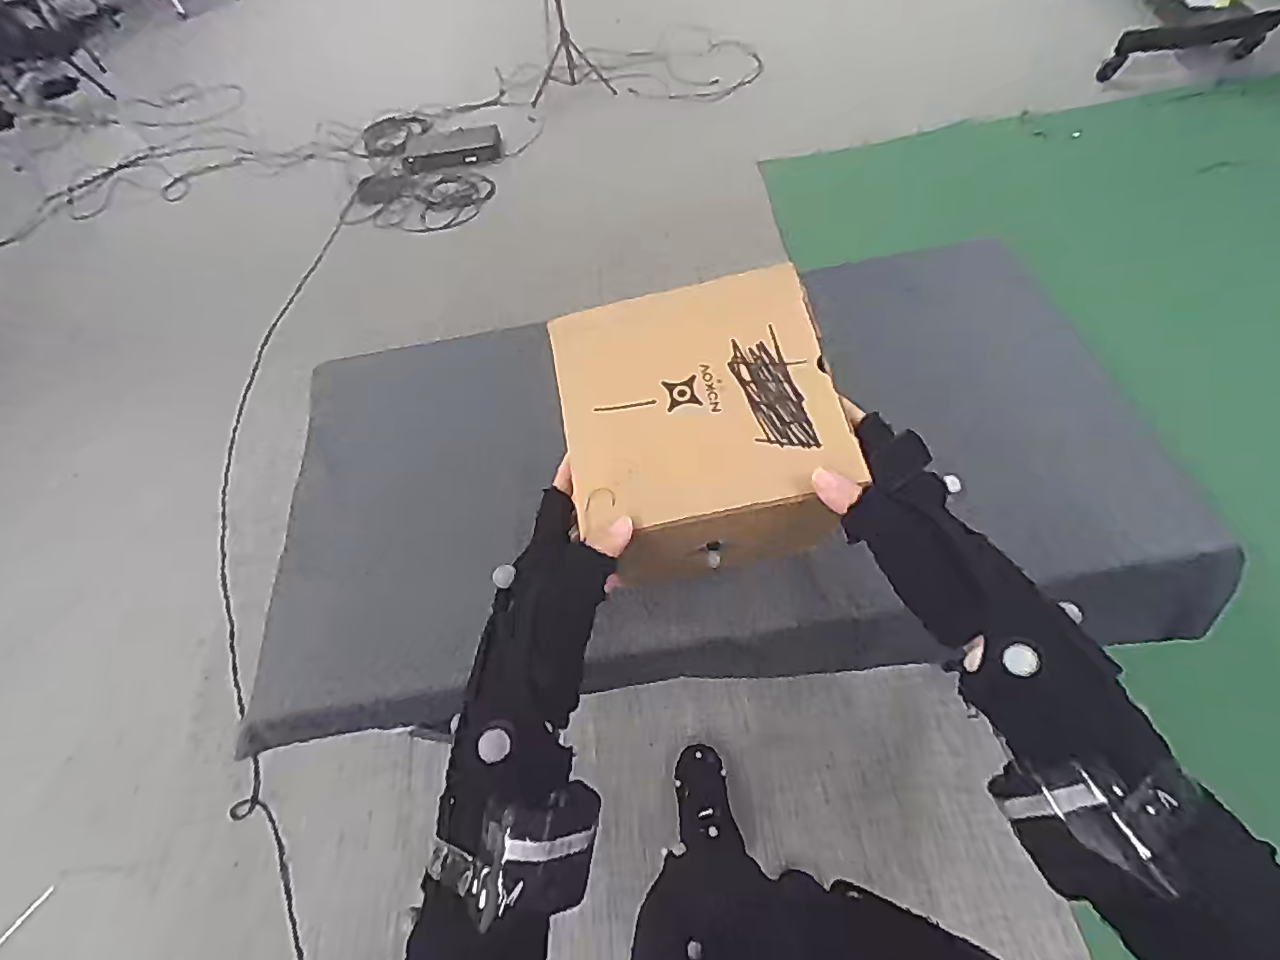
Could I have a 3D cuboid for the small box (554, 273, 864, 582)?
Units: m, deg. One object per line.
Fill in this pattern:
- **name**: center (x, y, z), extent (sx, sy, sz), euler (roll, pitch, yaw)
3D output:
- **small box**: center (0.045, -0.026, 0.424), extent (0.179, 0.176, 0.168), euler (-12, 69, 3)
